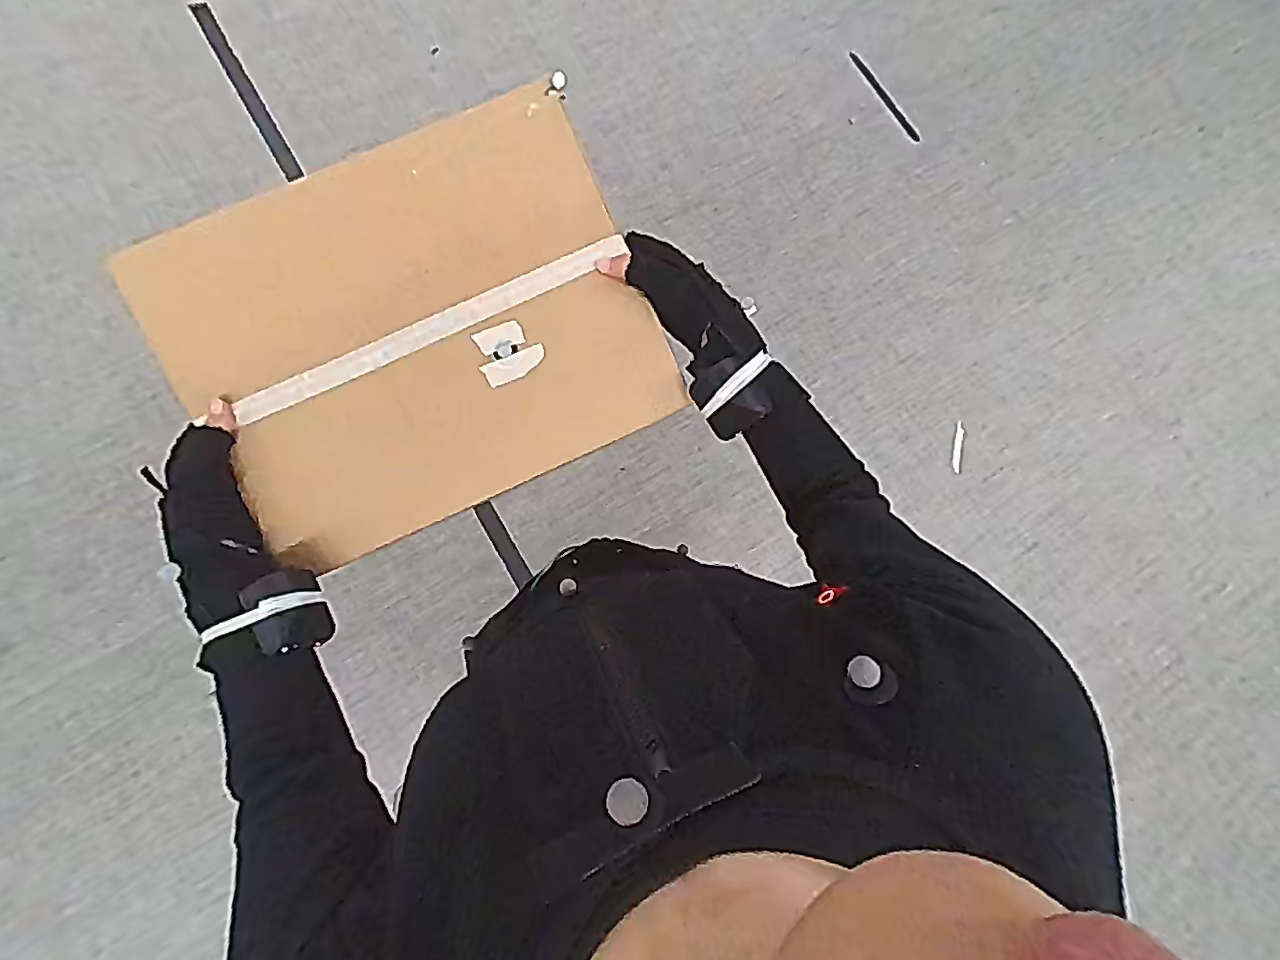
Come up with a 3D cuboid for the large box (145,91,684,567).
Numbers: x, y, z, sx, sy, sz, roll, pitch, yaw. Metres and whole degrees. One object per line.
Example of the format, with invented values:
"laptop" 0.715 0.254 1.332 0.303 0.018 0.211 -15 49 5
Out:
"large box" -0.212 -0.147 0.646 0.408 0.320 0.320 -25 98 -4
